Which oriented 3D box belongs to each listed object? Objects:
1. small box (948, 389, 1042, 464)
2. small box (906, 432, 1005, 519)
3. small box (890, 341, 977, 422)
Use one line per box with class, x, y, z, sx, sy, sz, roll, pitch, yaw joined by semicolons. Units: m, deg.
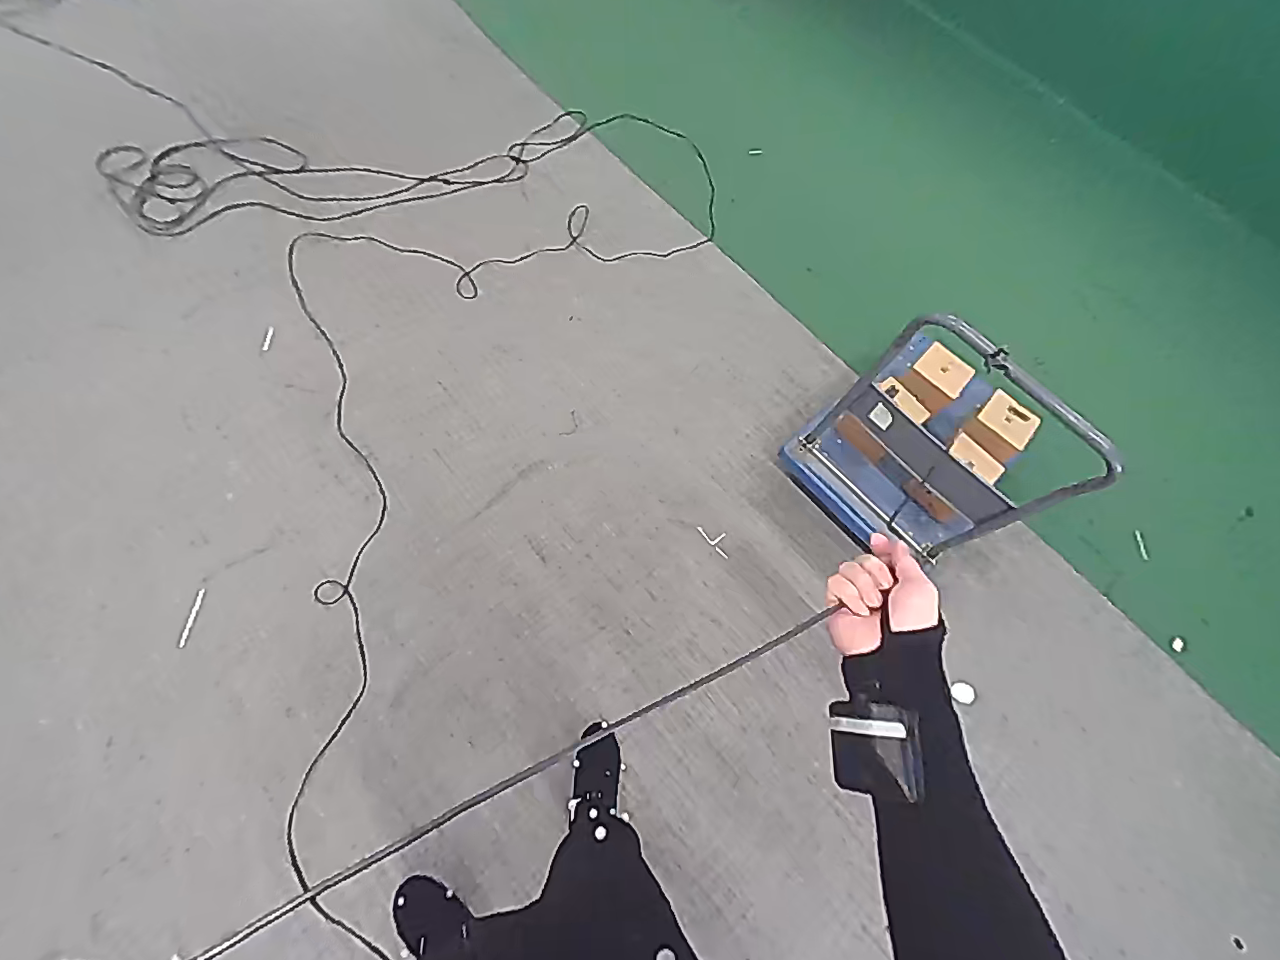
small box;1.165;-0.159;1.786;0.168;0.176;0.179;43;65;11
small box;0.969;-0.010;1.675;0.179;0.176;0.168;-36;76;-23
small box;0.985;-0.329;1.833;0.168;0.176;0.179;44;64;10
